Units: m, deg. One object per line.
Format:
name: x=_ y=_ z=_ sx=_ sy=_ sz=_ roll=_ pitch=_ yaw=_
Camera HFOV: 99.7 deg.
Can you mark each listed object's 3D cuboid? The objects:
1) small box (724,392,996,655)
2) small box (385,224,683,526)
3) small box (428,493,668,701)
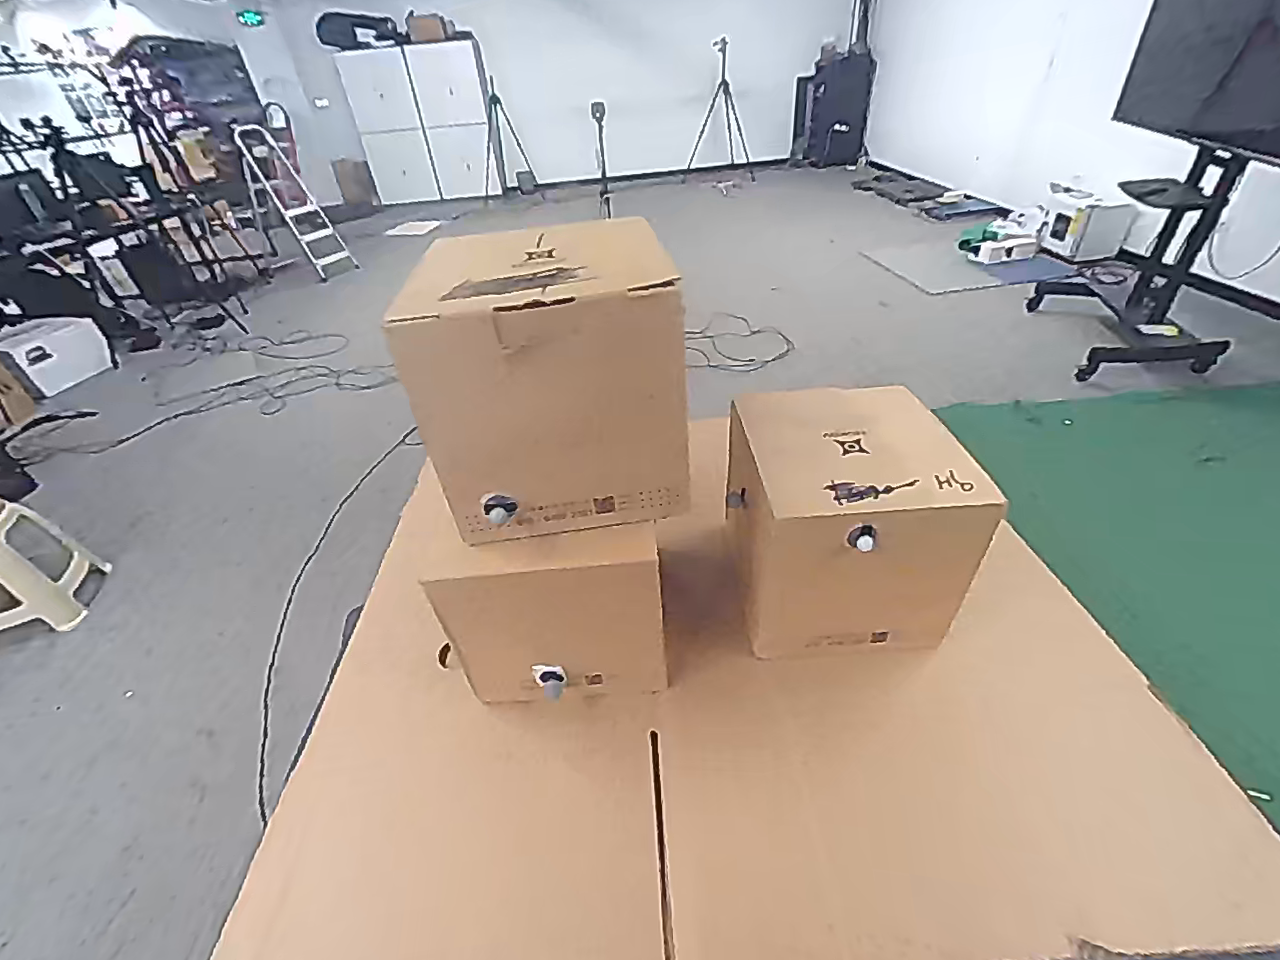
small box: x=0.172 y=0.036 z=0.496 sx=0.168 sy=0.176 sz=0.179 roll=-4 pitch=37 yaw=1
small box: x=-0.062 y=-0.078 z=0.414 sx=0.168 sy=0.176 sz=0.179 roll=-8 pitch=37 yaw=-2
small box: x=-0.066 y=0.072 z=0.490 sx=0.168 sy=0.176 sz=0.179 roll=-6 pitch=39 yaw=1
